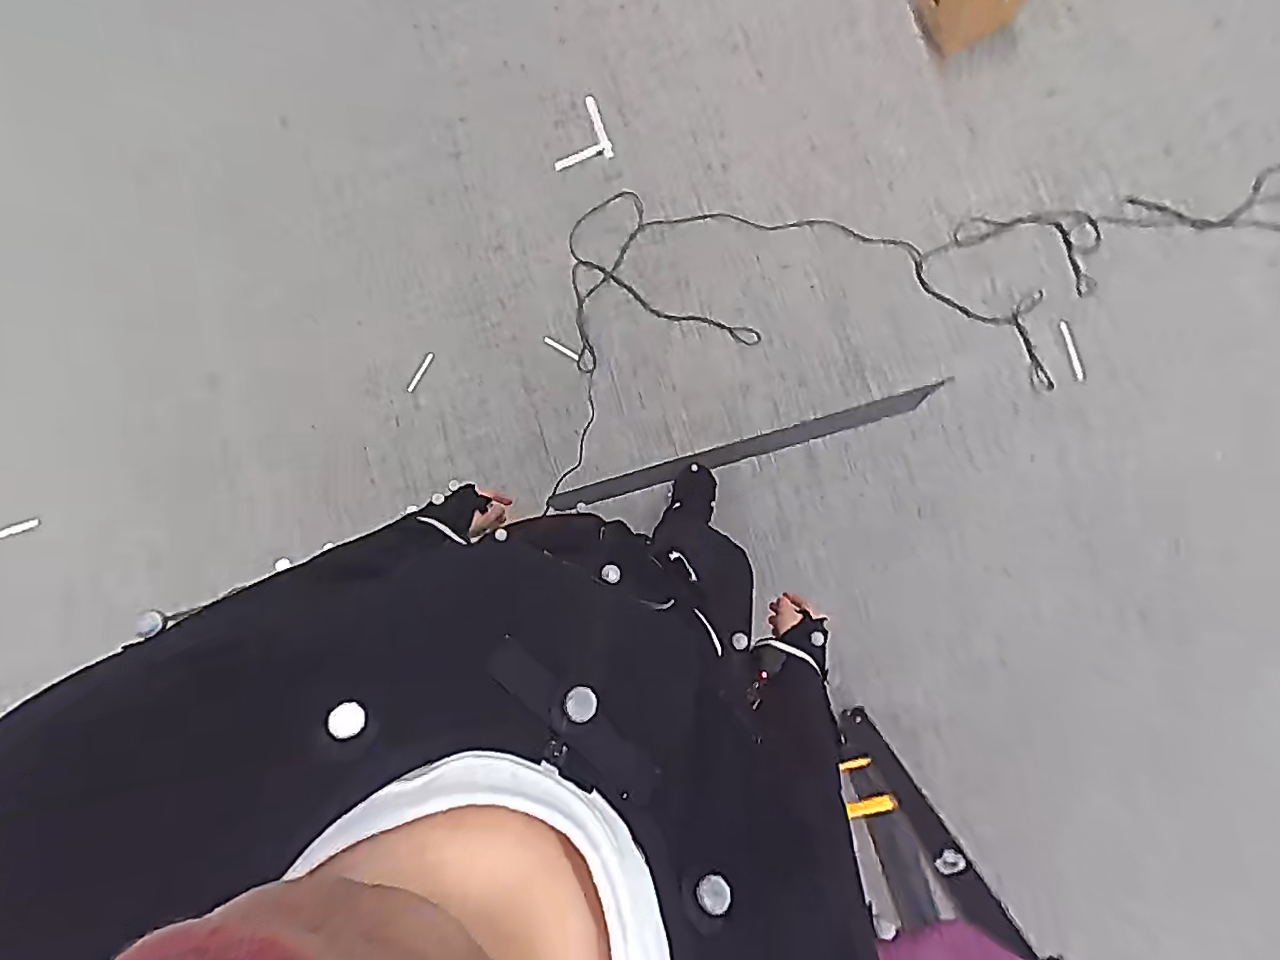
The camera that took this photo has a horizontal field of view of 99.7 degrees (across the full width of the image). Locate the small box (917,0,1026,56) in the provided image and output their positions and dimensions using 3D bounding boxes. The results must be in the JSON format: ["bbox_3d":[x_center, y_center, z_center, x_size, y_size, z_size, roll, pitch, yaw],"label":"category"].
[{"bbox_3d":[0.766,-1.124,1.219,0.179,0.176,0.168,-22,86,7],"label":"small box"}]
